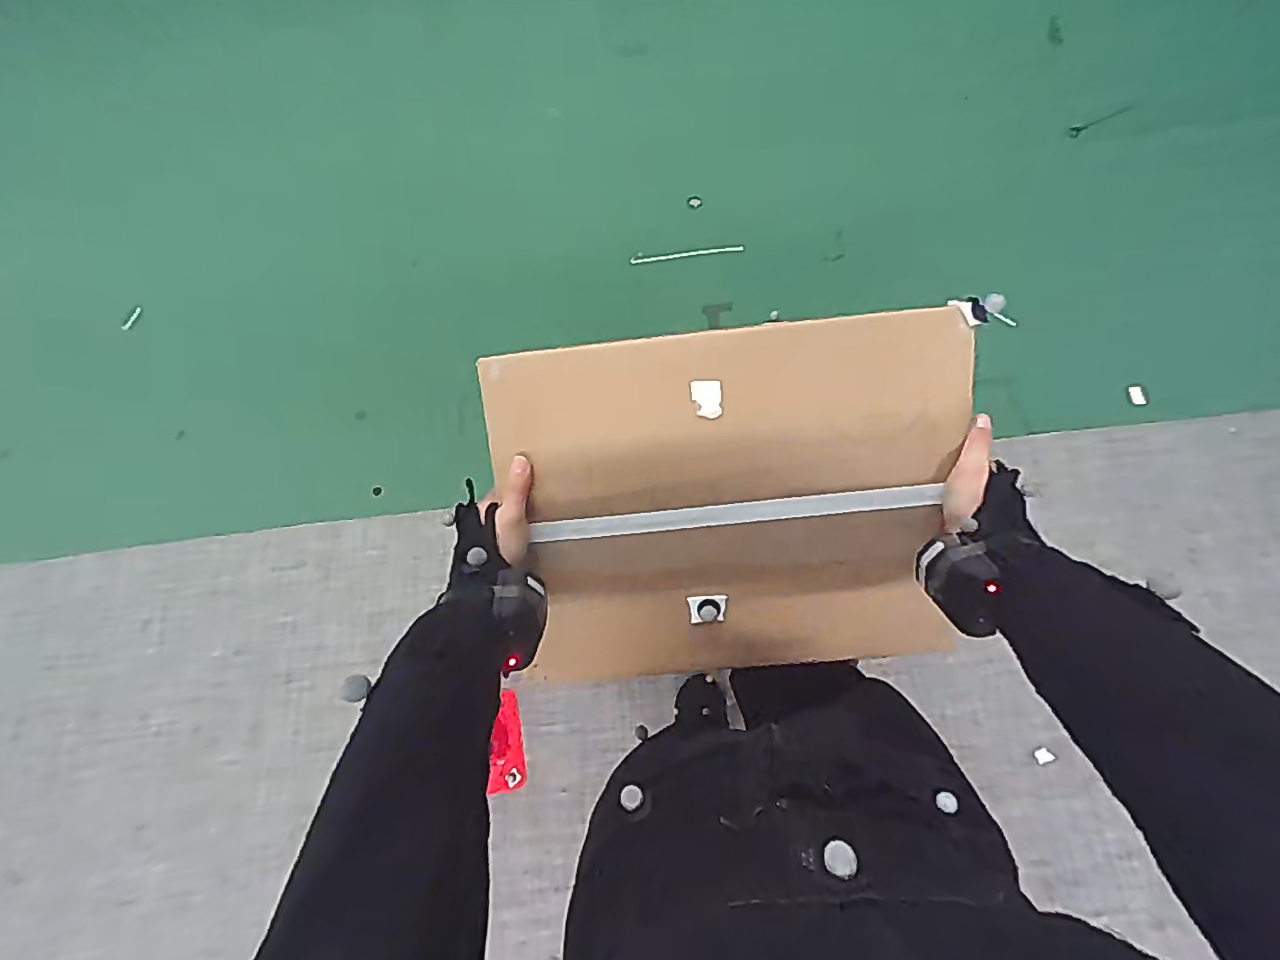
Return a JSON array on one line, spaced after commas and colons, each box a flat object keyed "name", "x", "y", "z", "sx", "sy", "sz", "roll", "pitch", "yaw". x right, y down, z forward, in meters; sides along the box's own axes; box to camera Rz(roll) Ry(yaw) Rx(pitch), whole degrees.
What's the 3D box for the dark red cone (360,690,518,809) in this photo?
[{"name": "dark red cone", "x": -0.375, "y": 0.505, "z": 0.981, "sx": 0.202, "sy": 0.394, "sz": 0.201, "roll": -14, "pitch": 69, "yaw": 0}]
